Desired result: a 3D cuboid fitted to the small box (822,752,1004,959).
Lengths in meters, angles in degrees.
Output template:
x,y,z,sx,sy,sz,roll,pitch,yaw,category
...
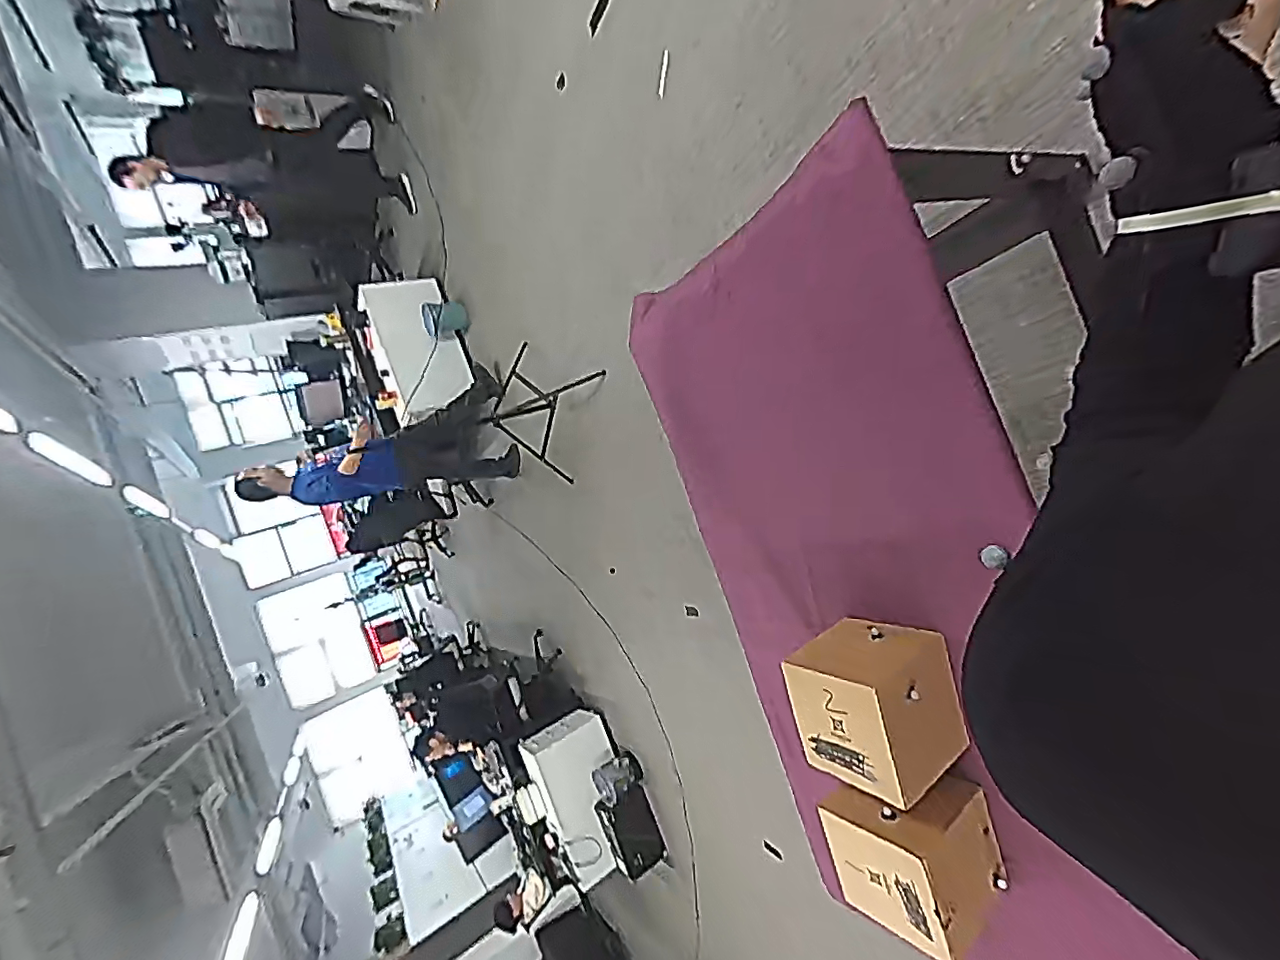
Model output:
x,y,z,sx,sy,sz,roll,pitch,yaw,category
0.417,0.549,0.819,0.179,0.176,0.168,-12,96,59,small box
